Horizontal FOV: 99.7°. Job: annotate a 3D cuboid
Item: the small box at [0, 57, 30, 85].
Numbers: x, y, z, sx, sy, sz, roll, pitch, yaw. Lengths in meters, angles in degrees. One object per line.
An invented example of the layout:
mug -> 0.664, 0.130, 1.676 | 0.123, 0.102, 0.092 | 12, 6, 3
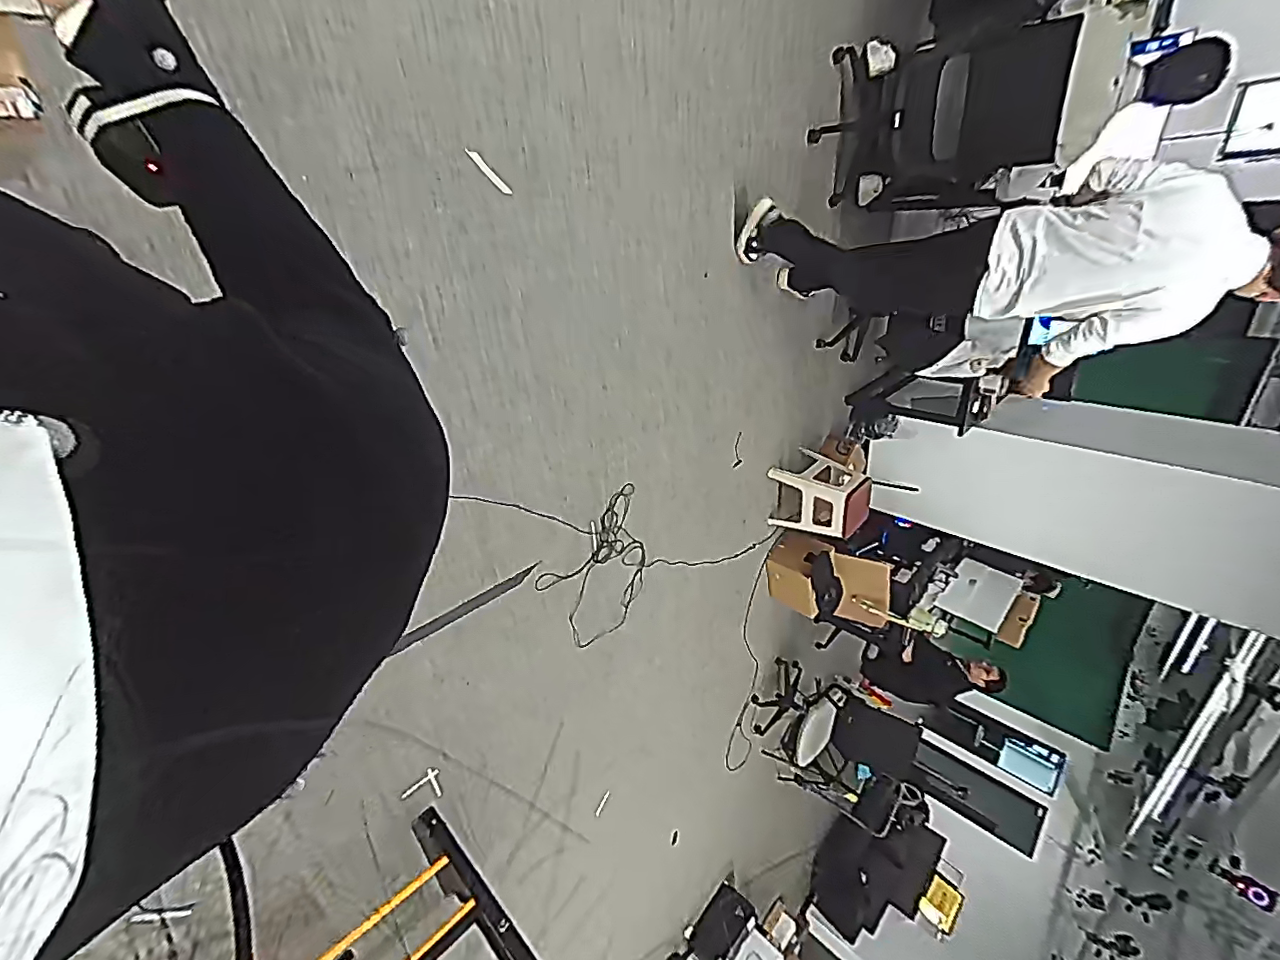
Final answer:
small box -> -0.720, -0.468, 0.486 | 0.179, 0.176, 0.168 | -31, 128, -38

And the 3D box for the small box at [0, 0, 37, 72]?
small box -> -0.595, -0.424, 0.387 | 0.168, 0.176, 0.179 | -28, 127, -41
